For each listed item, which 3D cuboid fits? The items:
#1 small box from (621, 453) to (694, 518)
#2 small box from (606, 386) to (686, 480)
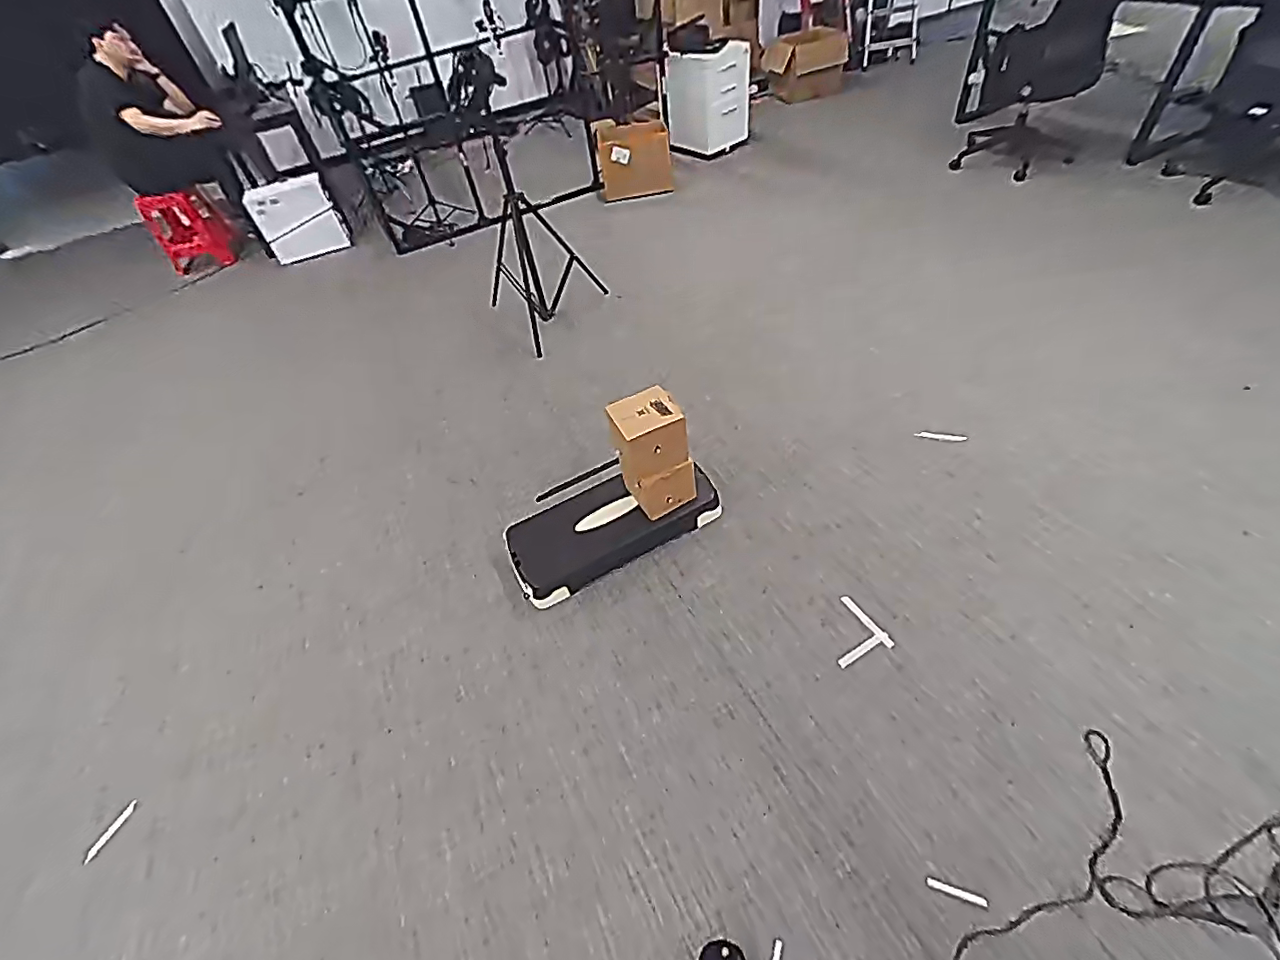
[{"bbox_3d":[0.052,-0.016,1.663,0.168,0.176,0.179,-28,50,-15],"label":"small box"},{"bbox_3d":[0.021,-0.132,1.550,0.179,0.176,0.168,-24,49,-11],"label":"small box"}]
